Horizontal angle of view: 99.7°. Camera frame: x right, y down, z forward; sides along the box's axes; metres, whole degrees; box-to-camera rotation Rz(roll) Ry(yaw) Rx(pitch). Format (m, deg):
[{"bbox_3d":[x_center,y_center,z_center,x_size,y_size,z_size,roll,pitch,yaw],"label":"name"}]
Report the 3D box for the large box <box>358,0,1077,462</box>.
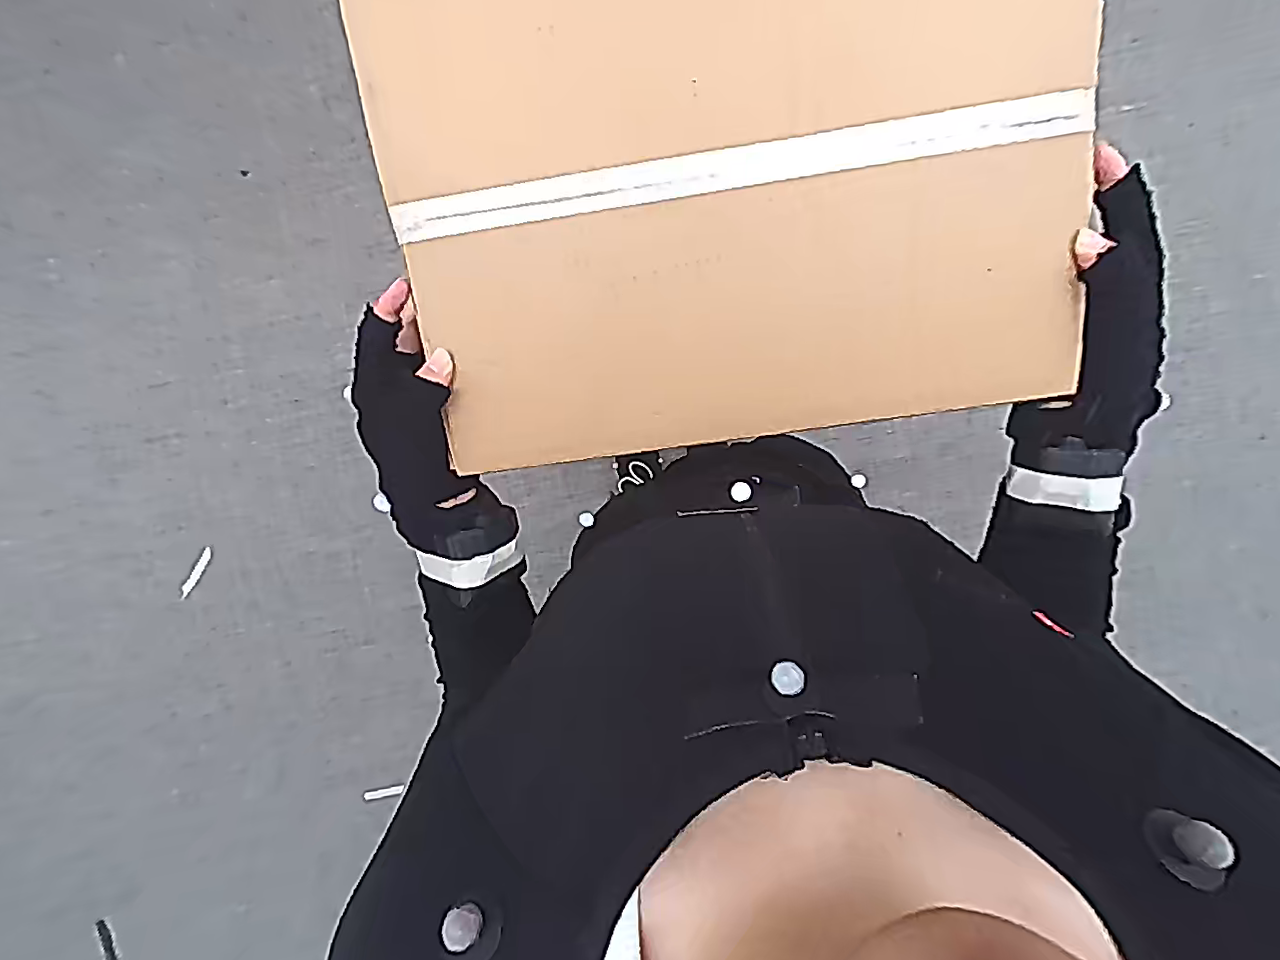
[{"bbox_3d":[0.054,-0.223,0.470,0.408,0.320,0.320,-8,105,3],"label":"large box"}]
